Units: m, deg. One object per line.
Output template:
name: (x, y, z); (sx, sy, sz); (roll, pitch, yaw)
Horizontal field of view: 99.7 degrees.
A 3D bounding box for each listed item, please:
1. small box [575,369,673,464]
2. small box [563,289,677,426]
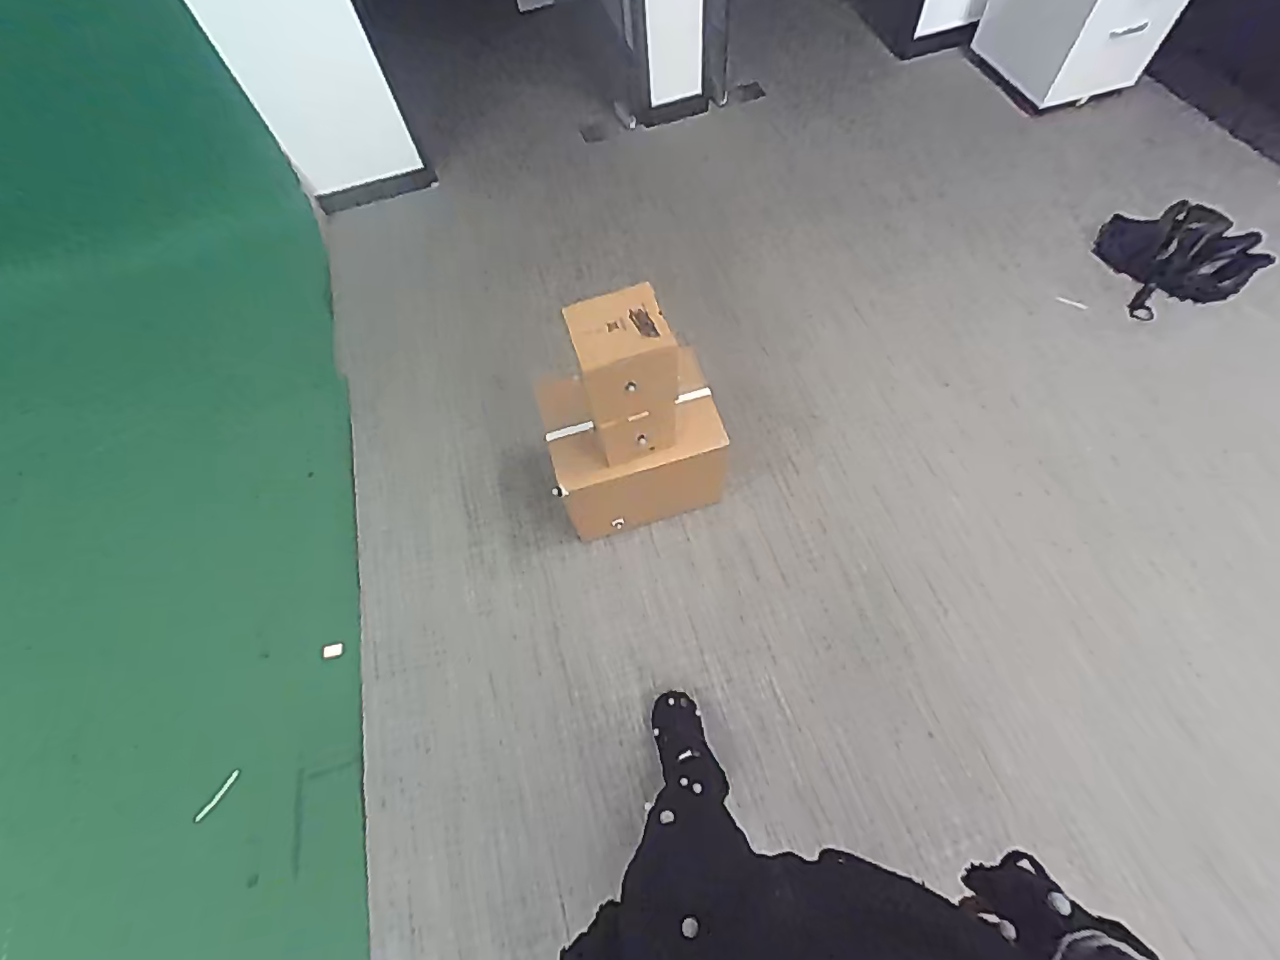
small box: (-0.030, -0.154, 1.193); (0.168, 0.176, 0.179); (-19, 64, -5)
small box: (-0.034, -0.231, 1.047); (0.179, 0.176, 0.168); (-17, 62, -3)
